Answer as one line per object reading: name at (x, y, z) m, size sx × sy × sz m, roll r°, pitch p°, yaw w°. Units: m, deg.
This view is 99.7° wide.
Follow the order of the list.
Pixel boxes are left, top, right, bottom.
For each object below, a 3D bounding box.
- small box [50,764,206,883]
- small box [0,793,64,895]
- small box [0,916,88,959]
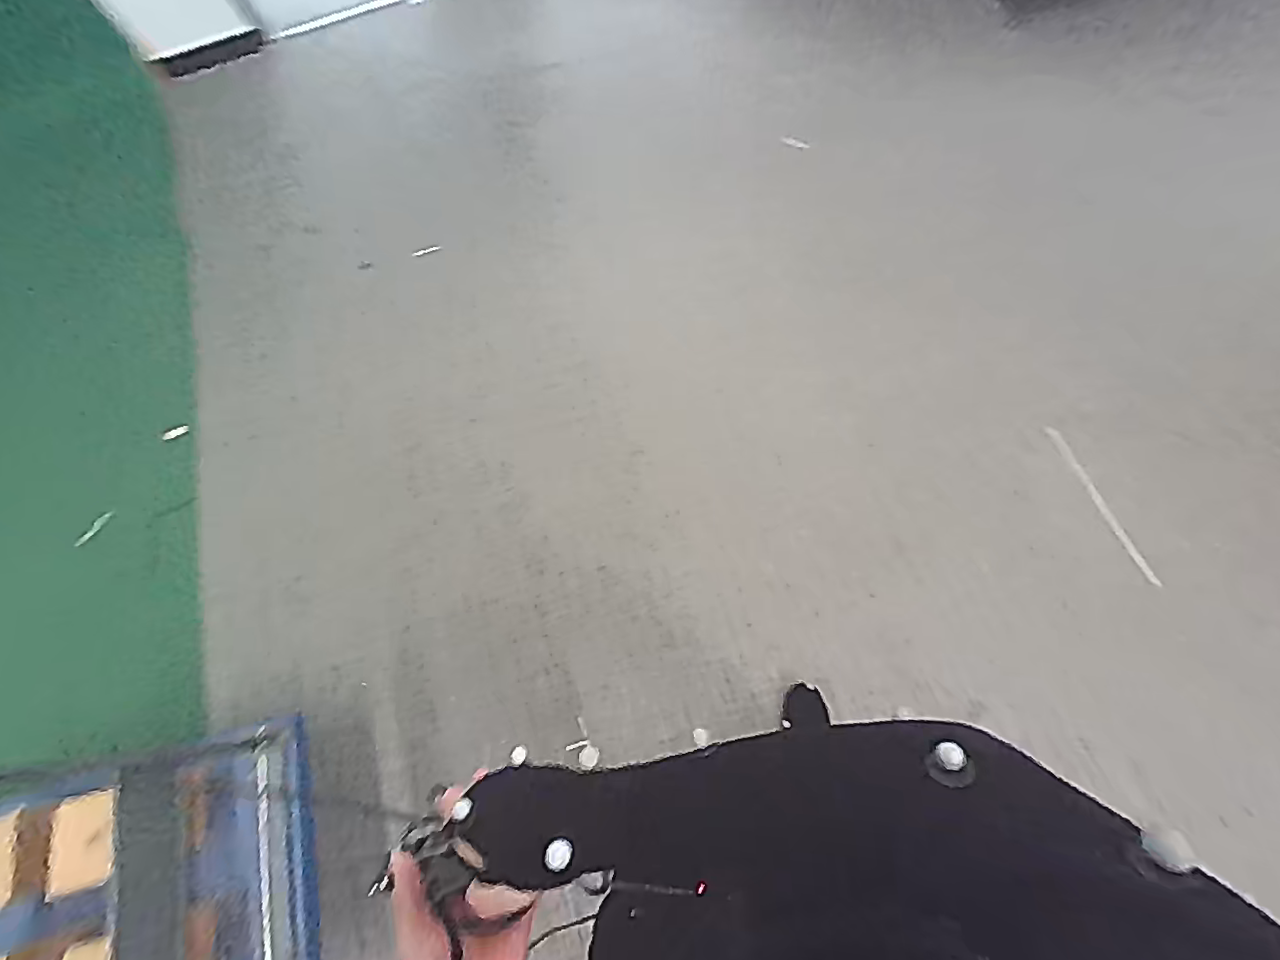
small box at (-1.102, 0.737, 1.178) m, size 0.179 × 0.176 × 0.168 m, roll -14°, pitch 70°, yaw -1°
small box at (-1.353, 0.798, 1.176) m, size 0.179 × 0.176 × 0.168 m, roll -17°, pitch 71°, yaw -2°
small box at (-1.280, 1.029, 1.091) m, size 0.179 × 0.176 × 0.168 m, roll -19°, pitch 70°, yaw -2°
